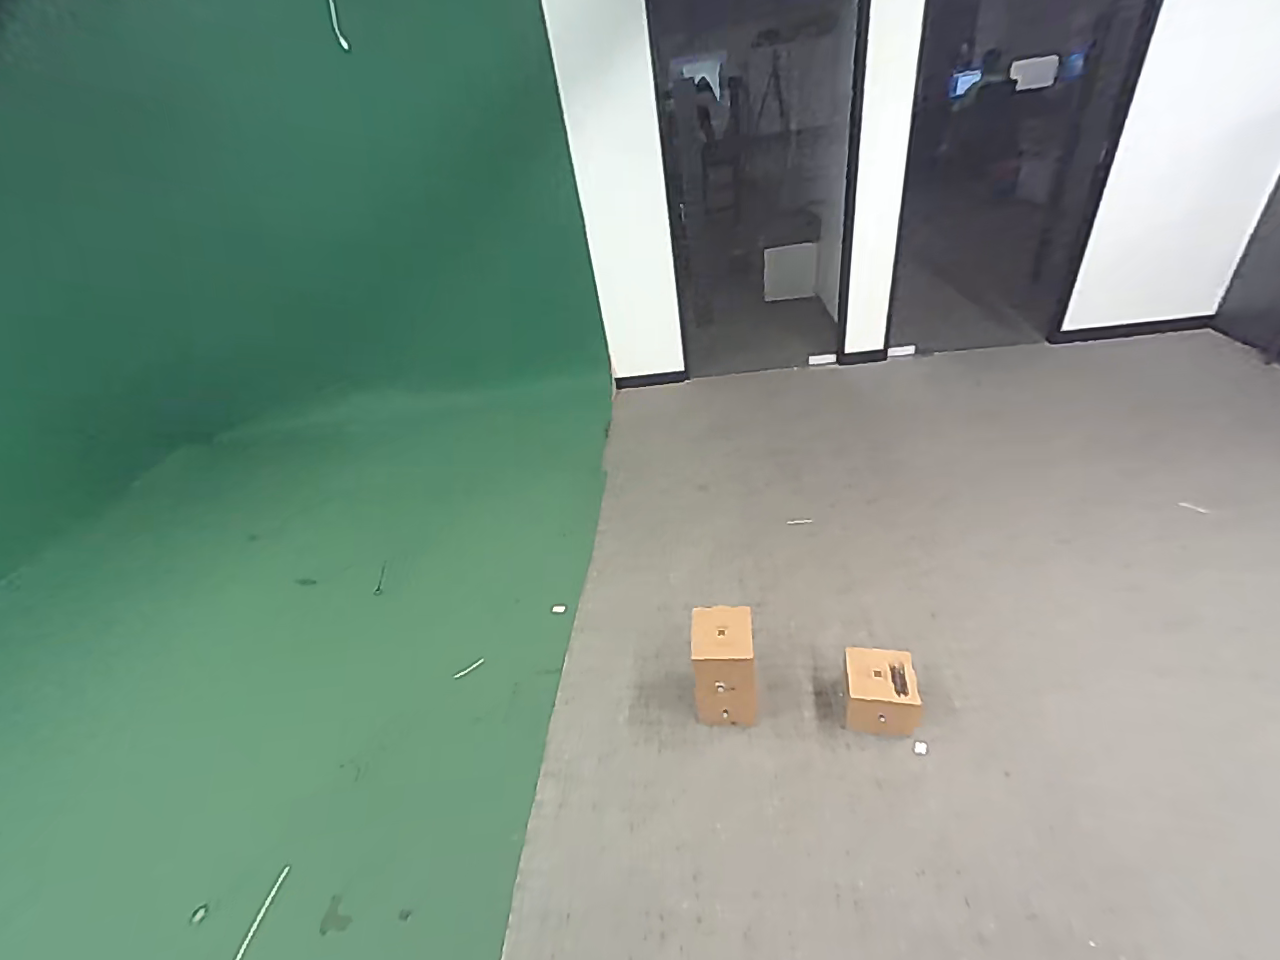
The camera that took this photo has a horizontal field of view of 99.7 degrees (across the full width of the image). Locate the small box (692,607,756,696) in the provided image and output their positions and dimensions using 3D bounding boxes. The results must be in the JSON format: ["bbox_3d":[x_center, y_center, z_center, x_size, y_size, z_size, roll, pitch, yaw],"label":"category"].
[{"bbox_3d":[0.238,0.481,1.522,0.168,0.176,0.179,-4,37,10],"label":"small box"}]

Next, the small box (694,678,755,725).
[{"bbox_3d":[0.259,0.611,1.619,0.168,0.176,0.179,-1,37,12],"label":"small box"}]
